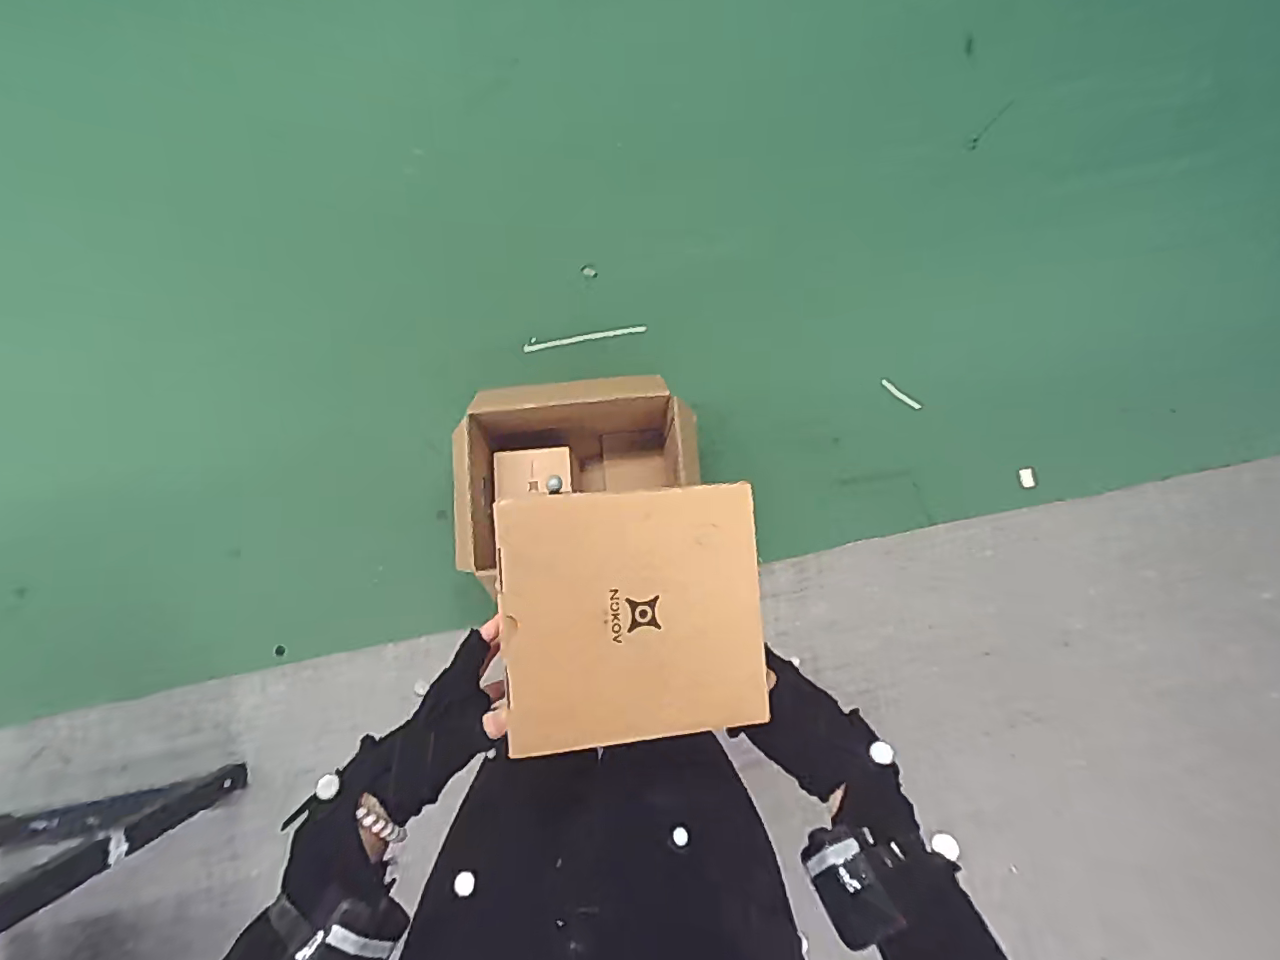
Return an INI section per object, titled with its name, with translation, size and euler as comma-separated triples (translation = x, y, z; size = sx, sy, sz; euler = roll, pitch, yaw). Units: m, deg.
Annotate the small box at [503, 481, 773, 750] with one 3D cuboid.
[small box]
translation = -0.012, 0.088, 0.437
size = 0.179, 0.176, 0.168
euler = -4, 88, -10
